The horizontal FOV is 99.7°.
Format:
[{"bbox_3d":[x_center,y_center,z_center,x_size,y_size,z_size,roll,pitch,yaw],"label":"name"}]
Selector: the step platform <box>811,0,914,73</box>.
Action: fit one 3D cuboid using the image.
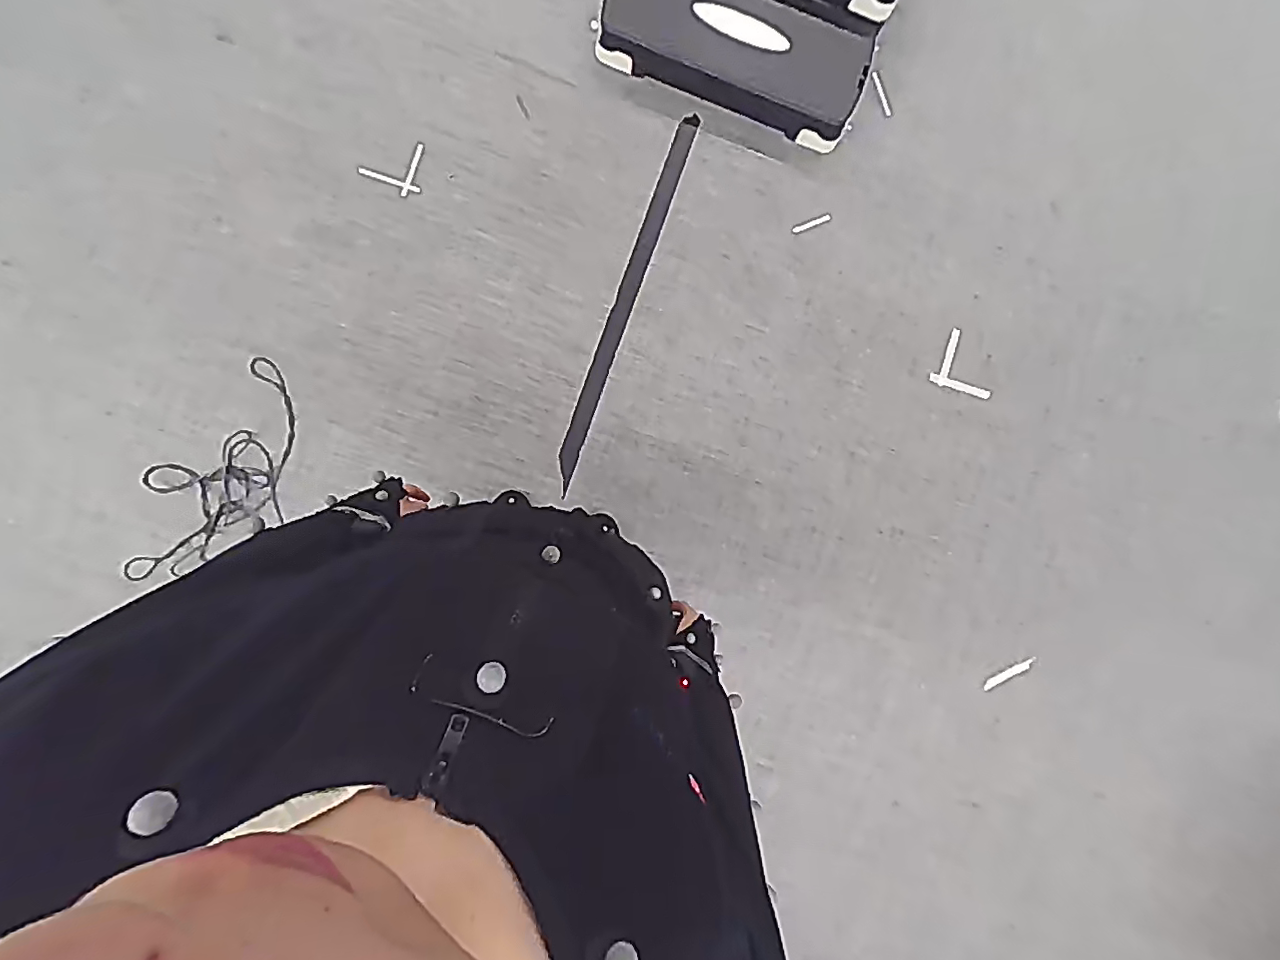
[{"bbox_3d":[0.369,-1.329,1.335,0.684,0.204,0.286,24,88,-4],"label":"step platform"}]
